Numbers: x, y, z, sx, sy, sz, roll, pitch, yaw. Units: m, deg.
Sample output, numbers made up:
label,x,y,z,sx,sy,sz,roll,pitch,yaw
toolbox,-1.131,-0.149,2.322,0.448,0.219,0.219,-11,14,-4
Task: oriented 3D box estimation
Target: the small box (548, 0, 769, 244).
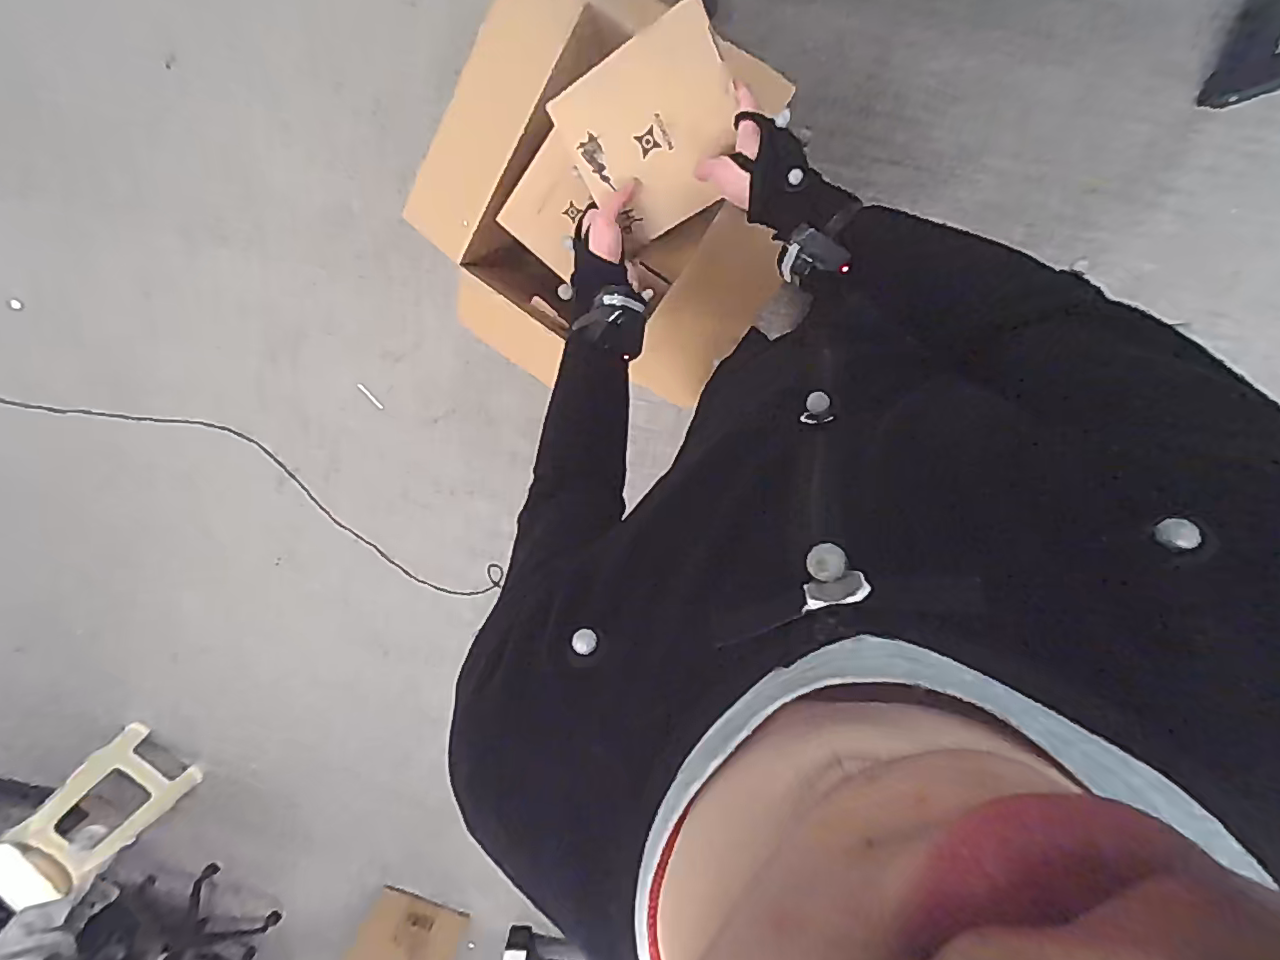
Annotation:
label,x,y,z,sx,sy,sz,roll,pitch,yaw
small box,0.029,-0.395,0.607,0.179,0.176,0.168,-22,114,21
